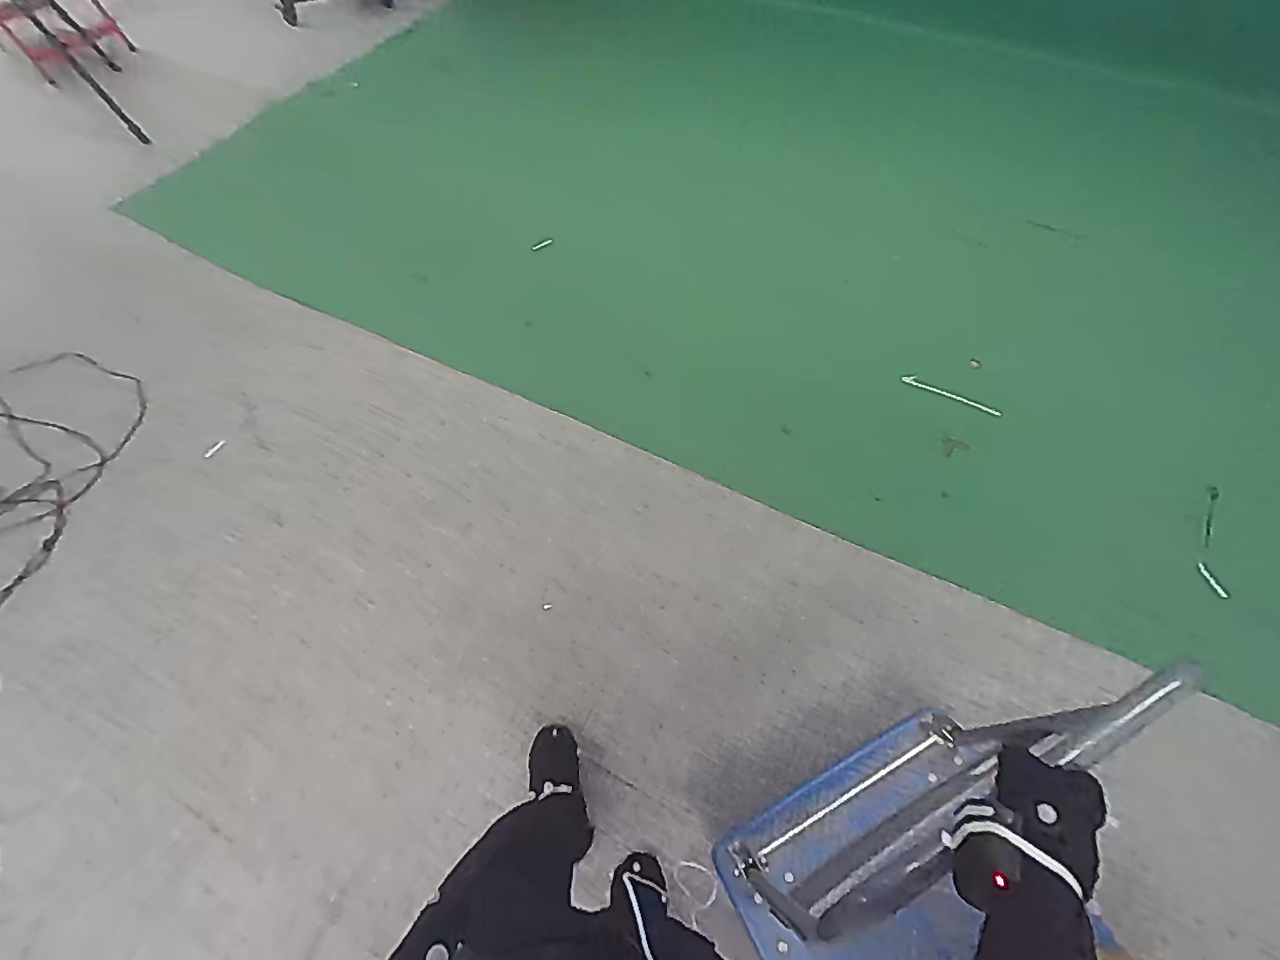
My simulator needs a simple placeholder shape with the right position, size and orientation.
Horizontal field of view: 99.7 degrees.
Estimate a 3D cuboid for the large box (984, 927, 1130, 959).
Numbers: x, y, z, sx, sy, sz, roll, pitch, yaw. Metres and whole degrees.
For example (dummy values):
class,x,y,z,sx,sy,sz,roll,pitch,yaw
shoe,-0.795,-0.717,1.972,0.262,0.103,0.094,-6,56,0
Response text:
class,x,y,z,sx,sy,sz,roll,pitch,yaw
large box,0.597,0.928,0.734,0.408,0.320,0.320,-27,64,-15
